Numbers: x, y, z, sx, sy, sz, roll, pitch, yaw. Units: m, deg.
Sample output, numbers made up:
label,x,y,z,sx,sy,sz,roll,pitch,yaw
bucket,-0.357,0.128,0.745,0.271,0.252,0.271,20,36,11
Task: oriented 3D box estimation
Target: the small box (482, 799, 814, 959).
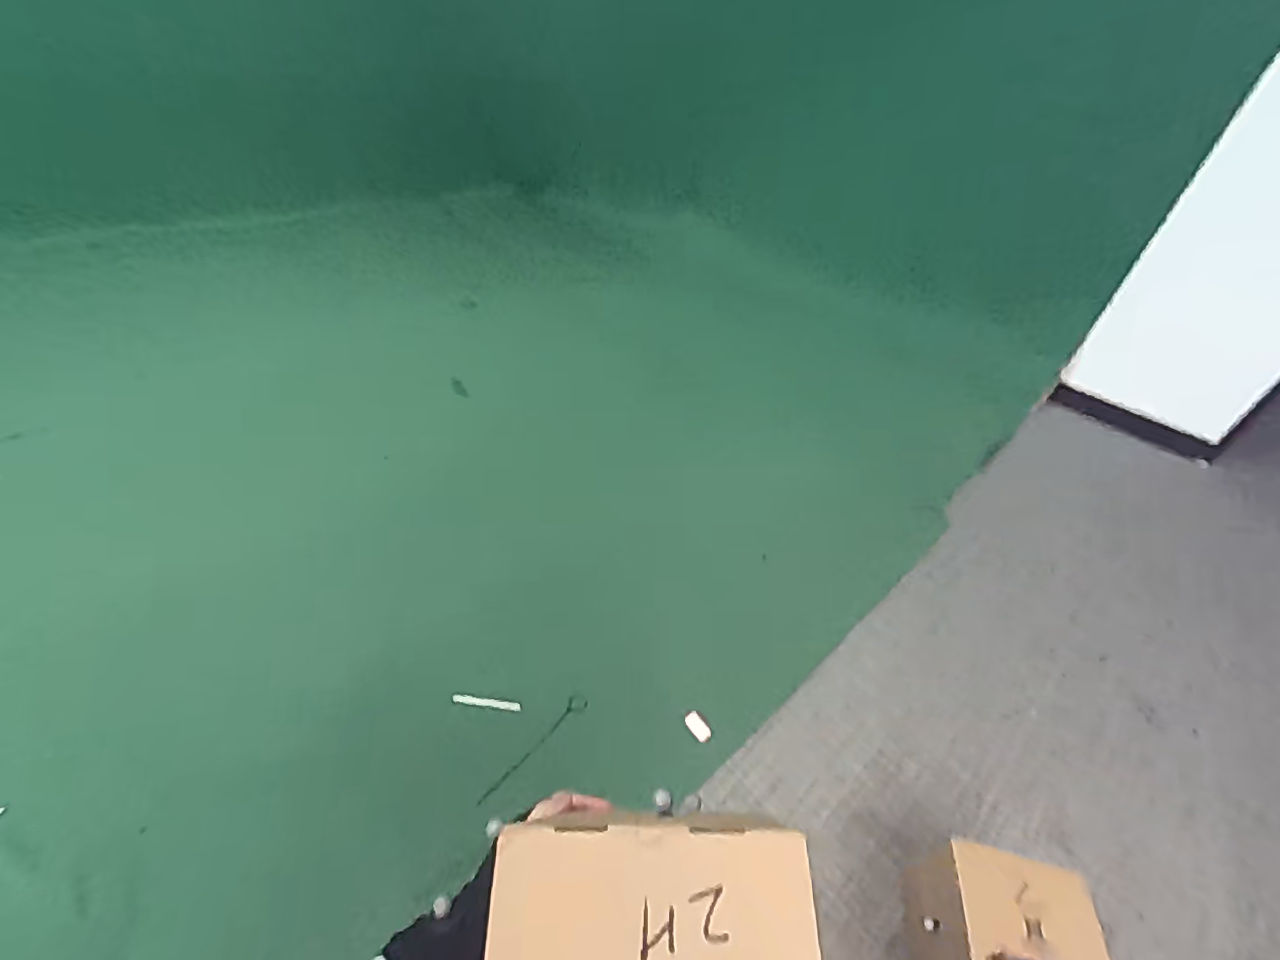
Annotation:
label,x,y,z,sx,sy,sz,roll,pitch,yaw
small box,0.010,0.295,0.320,0.168,0.176,0.179,-2,60,5
